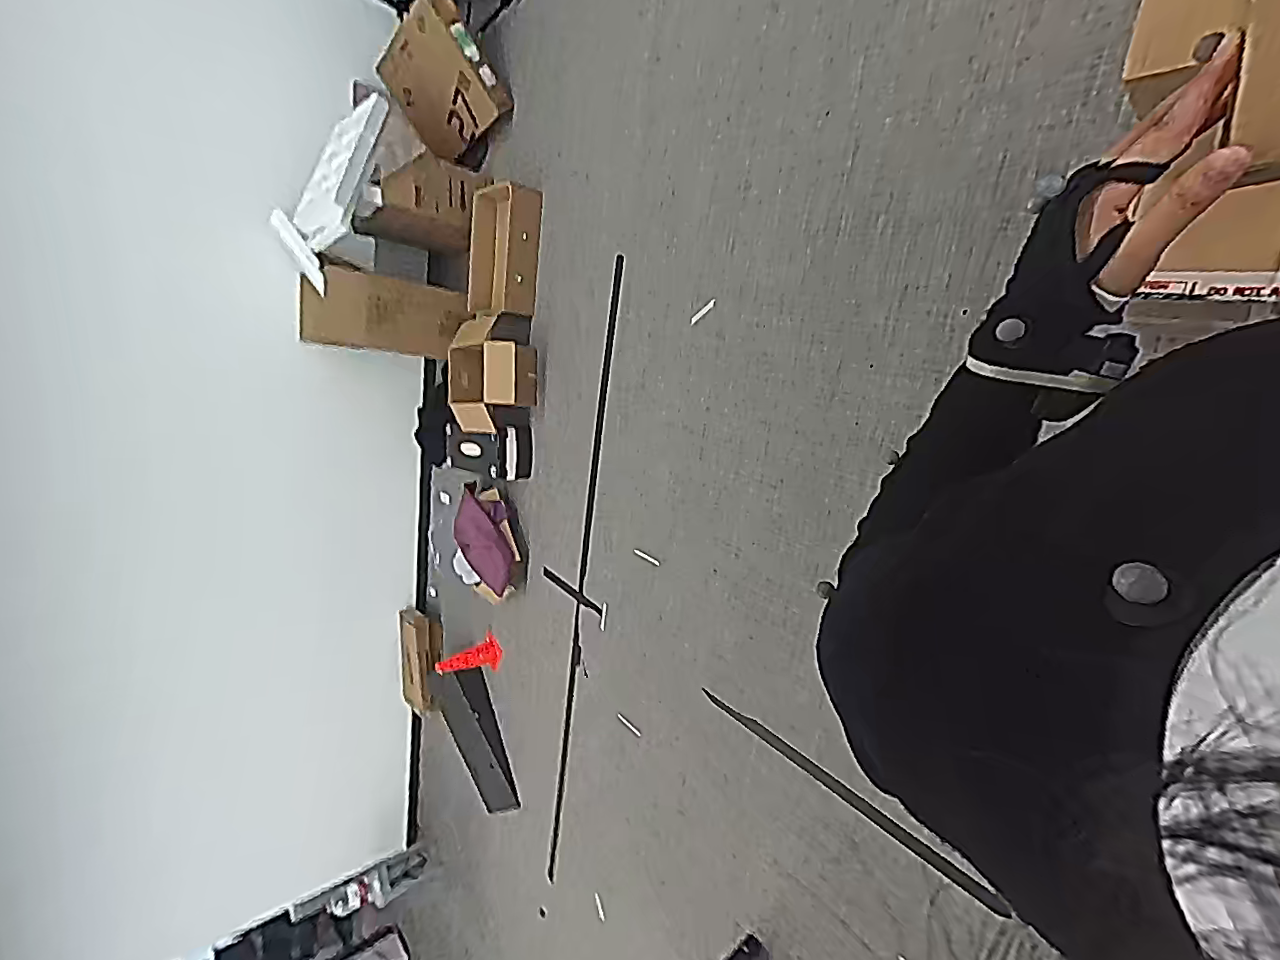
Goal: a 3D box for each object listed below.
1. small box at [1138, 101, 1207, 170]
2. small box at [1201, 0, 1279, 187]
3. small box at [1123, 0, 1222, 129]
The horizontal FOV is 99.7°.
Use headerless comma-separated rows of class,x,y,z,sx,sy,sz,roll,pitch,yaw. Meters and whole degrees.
small box,0.709,-0.483,0.615,0.168,0.176,0.179,18,110,48
small box,0.394,-0.255,0.255,0.168,0.176,0.179,6,113,44
small box,0.593,-0.461,0.499,0.168,0.176,0.179,23,113,47
